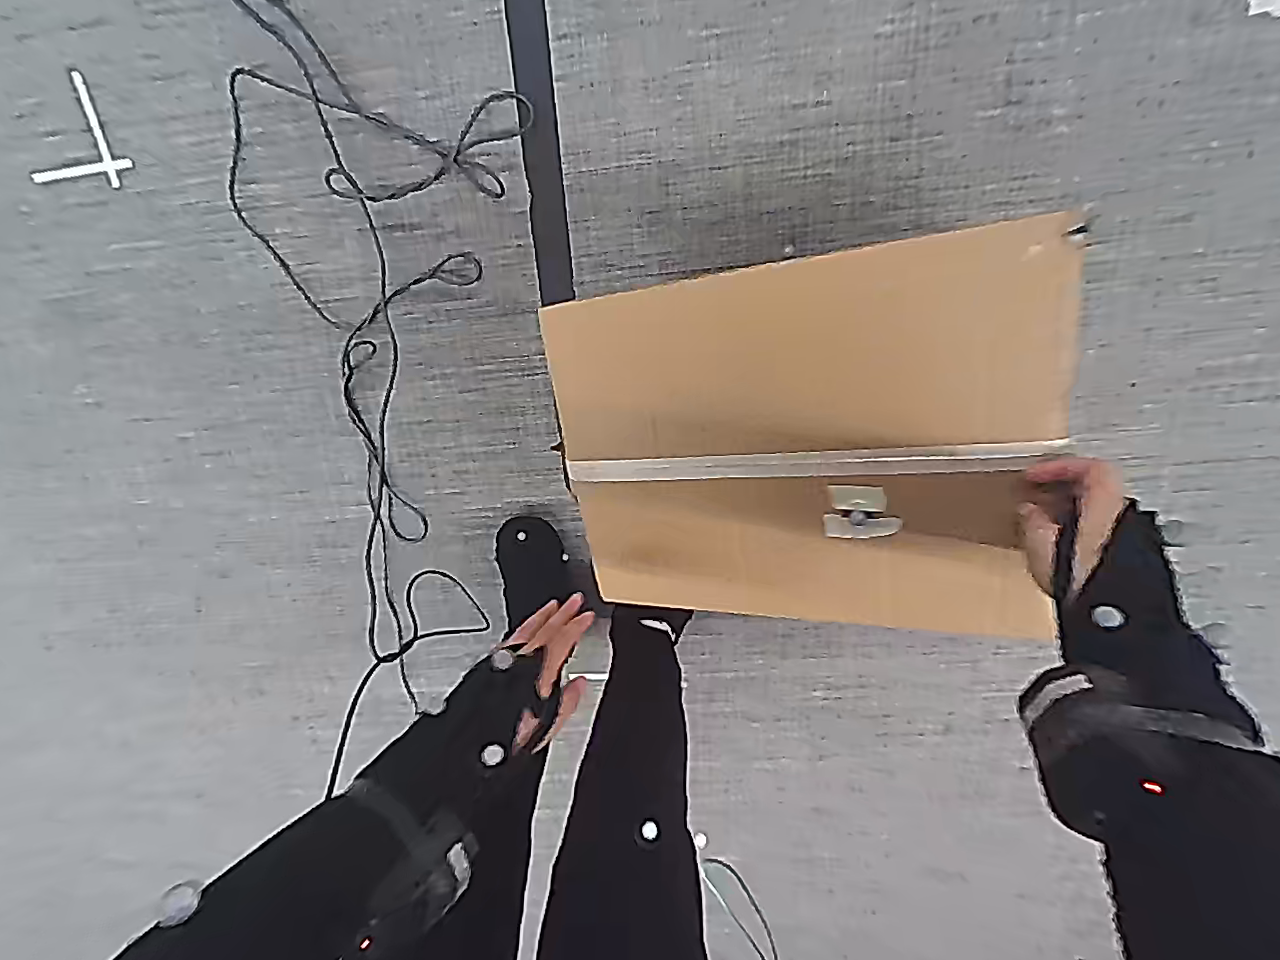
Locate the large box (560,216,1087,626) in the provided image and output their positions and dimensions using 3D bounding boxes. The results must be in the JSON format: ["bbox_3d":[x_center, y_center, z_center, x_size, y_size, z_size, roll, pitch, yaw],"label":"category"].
[{"bbox_3d":[0.182,-0.068,0.596,0.408,0.320,0.320,-2,110,24],"label":"large box"}]
